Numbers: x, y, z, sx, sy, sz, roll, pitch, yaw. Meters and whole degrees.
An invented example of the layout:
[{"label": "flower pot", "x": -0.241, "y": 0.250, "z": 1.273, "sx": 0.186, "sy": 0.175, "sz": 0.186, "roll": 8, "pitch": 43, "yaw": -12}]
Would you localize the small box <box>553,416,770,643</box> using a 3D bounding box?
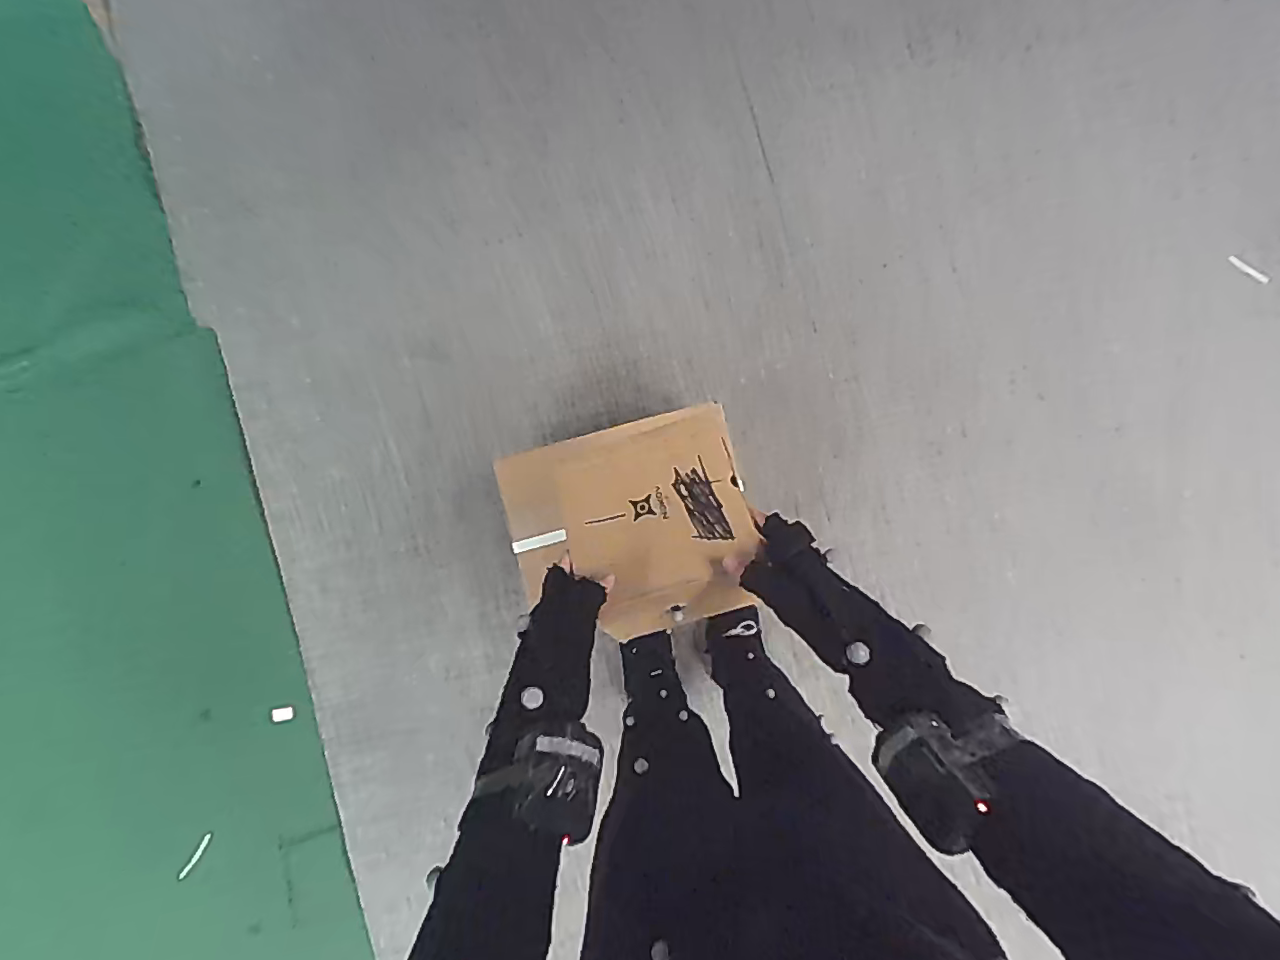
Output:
[{"label": "small box", "x": 0.027, "y": 0.063, "z": 0.581, "sx": 0.179, "sy": 0.176, "sz": 0.168, "roll": -19, "pitch": 63, "yaw": 5}]
